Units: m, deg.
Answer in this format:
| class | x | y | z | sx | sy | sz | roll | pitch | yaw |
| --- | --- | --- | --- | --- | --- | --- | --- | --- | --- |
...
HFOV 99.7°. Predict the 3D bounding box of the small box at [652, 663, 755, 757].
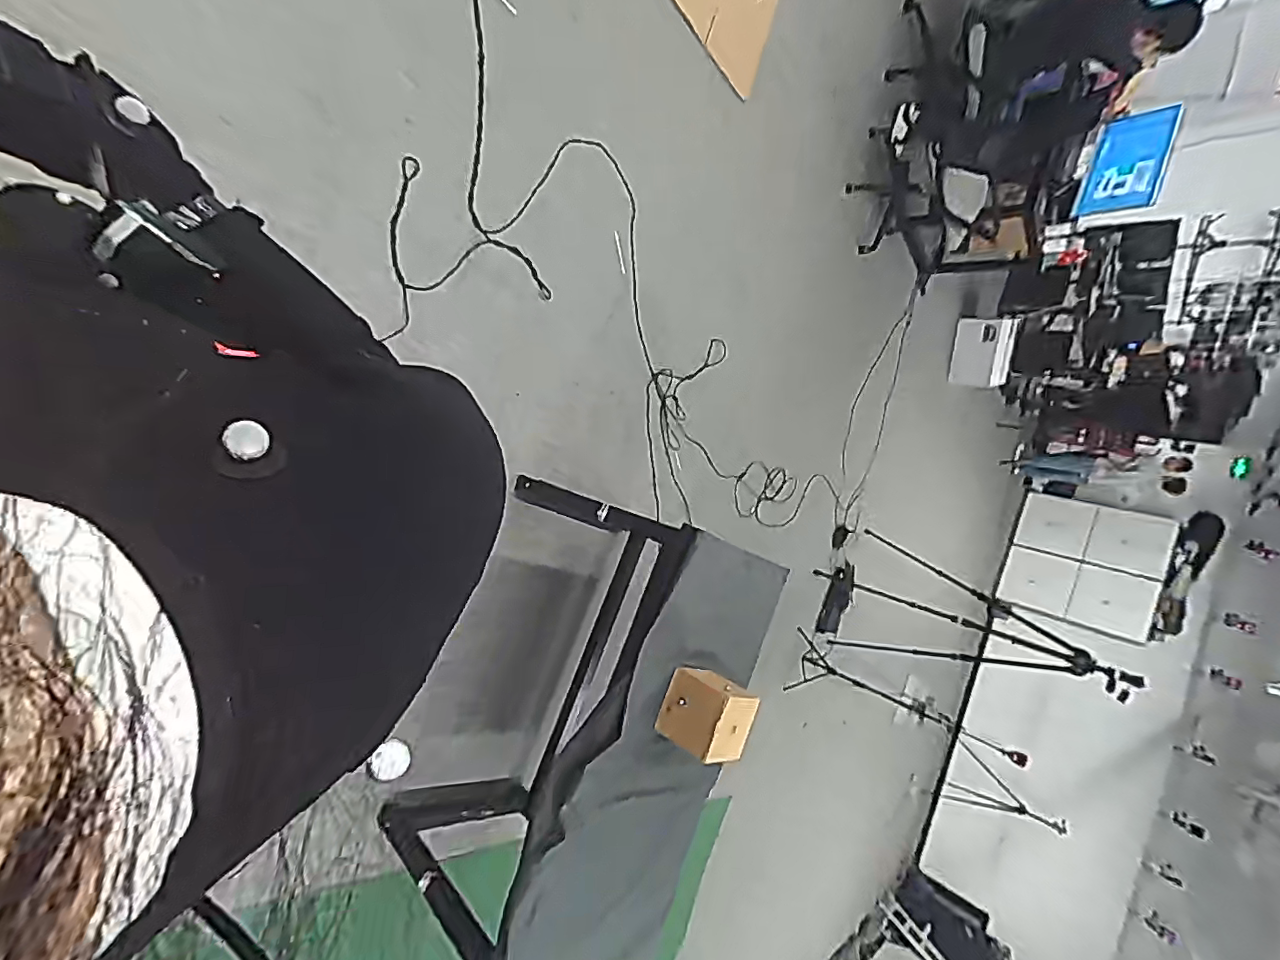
| class | x | y | z | sx | sy | sz | roll | pitch | yaw |
| --- | --- | --- | --- | --- | --- | --- | --- | --- | --- |
| small box | 0.163 | 0.591 | 1.405 | 0.179 | 0.176 | 0.168 | 27 | 83 | -47 |
